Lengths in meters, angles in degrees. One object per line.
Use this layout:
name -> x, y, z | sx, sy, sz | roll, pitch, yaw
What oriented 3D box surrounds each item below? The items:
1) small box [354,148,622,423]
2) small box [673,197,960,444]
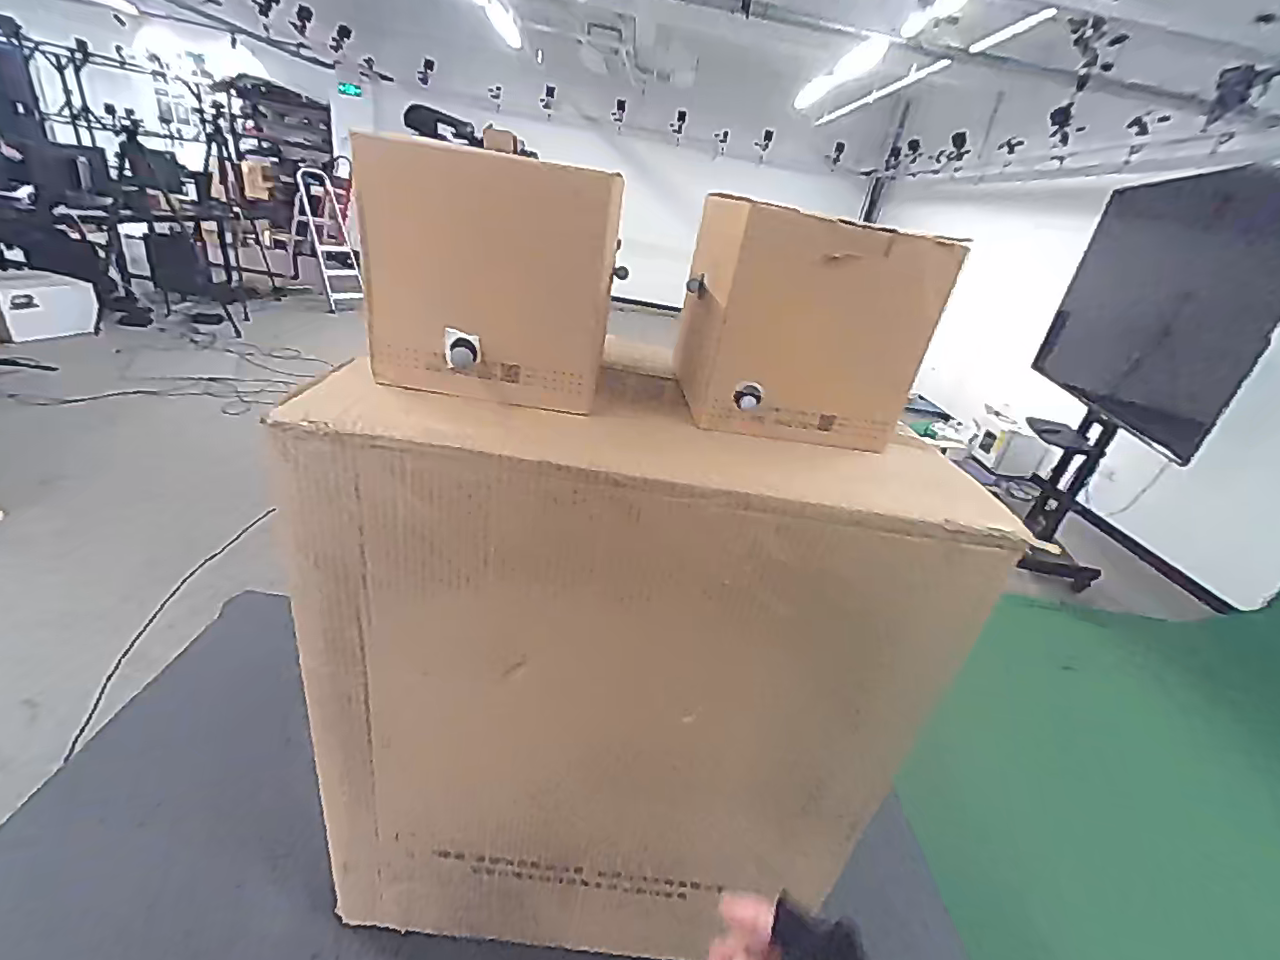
small box -> -0.108, -0.163, 0.450 | 0.168, 0.176, 0.179 | 6, 30, -3
small box -> 0.131, -0.143, 0.480 | 0.168, 0.176, 0.179 | 6, 28, -8
